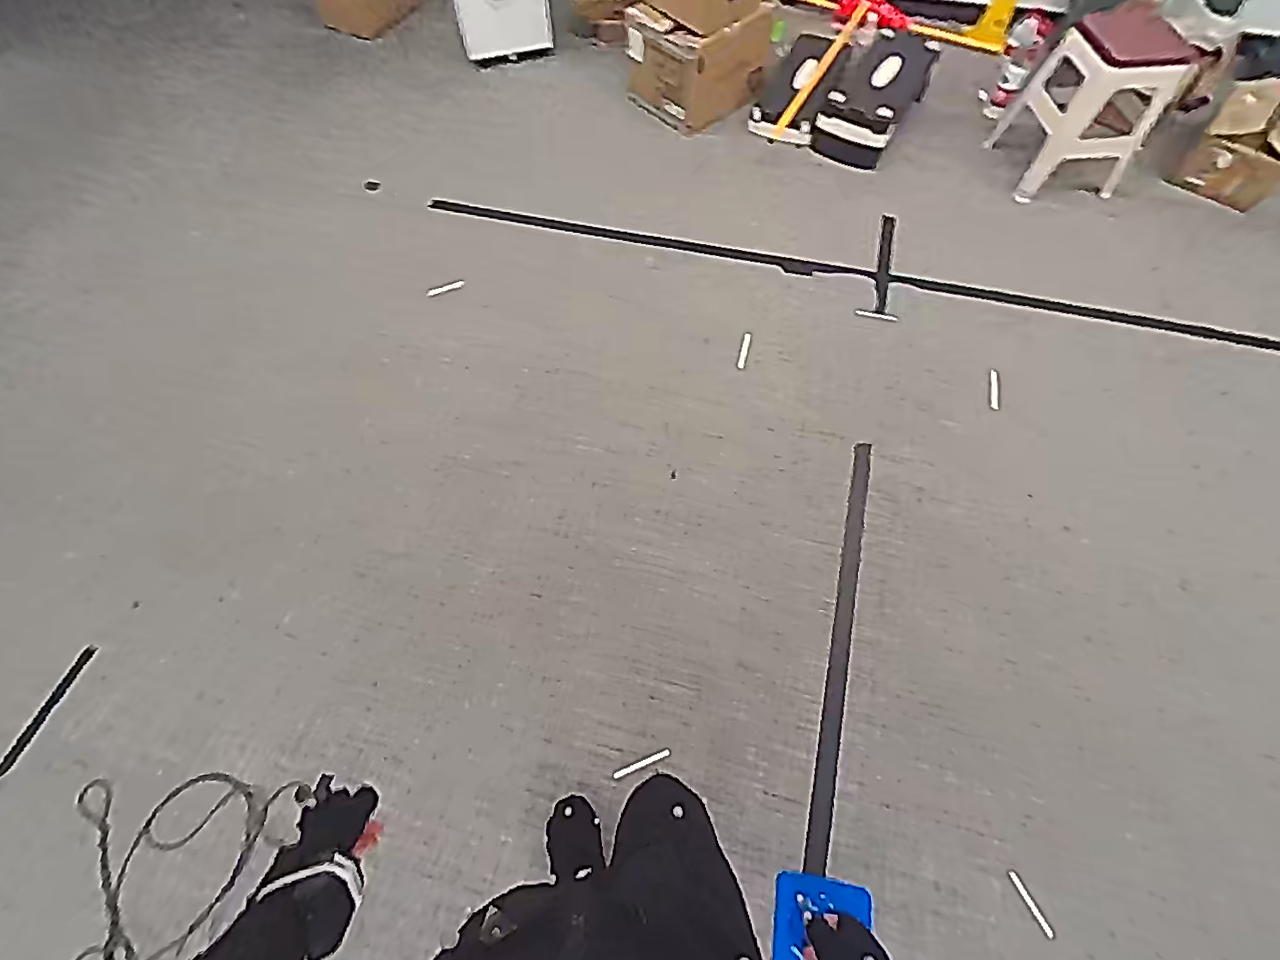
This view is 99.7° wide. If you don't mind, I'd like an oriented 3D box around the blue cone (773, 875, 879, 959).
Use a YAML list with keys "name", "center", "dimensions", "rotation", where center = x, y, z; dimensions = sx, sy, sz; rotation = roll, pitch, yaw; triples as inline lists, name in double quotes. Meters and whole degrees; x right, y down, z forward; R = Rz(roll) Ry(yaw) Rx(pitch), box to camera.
- name: "blue cone"
  center: [0.375, 0.864, 0.964]
  dimensions: [0.192, 0.380, 0.193]
  rotation: [11, 64, 5]
